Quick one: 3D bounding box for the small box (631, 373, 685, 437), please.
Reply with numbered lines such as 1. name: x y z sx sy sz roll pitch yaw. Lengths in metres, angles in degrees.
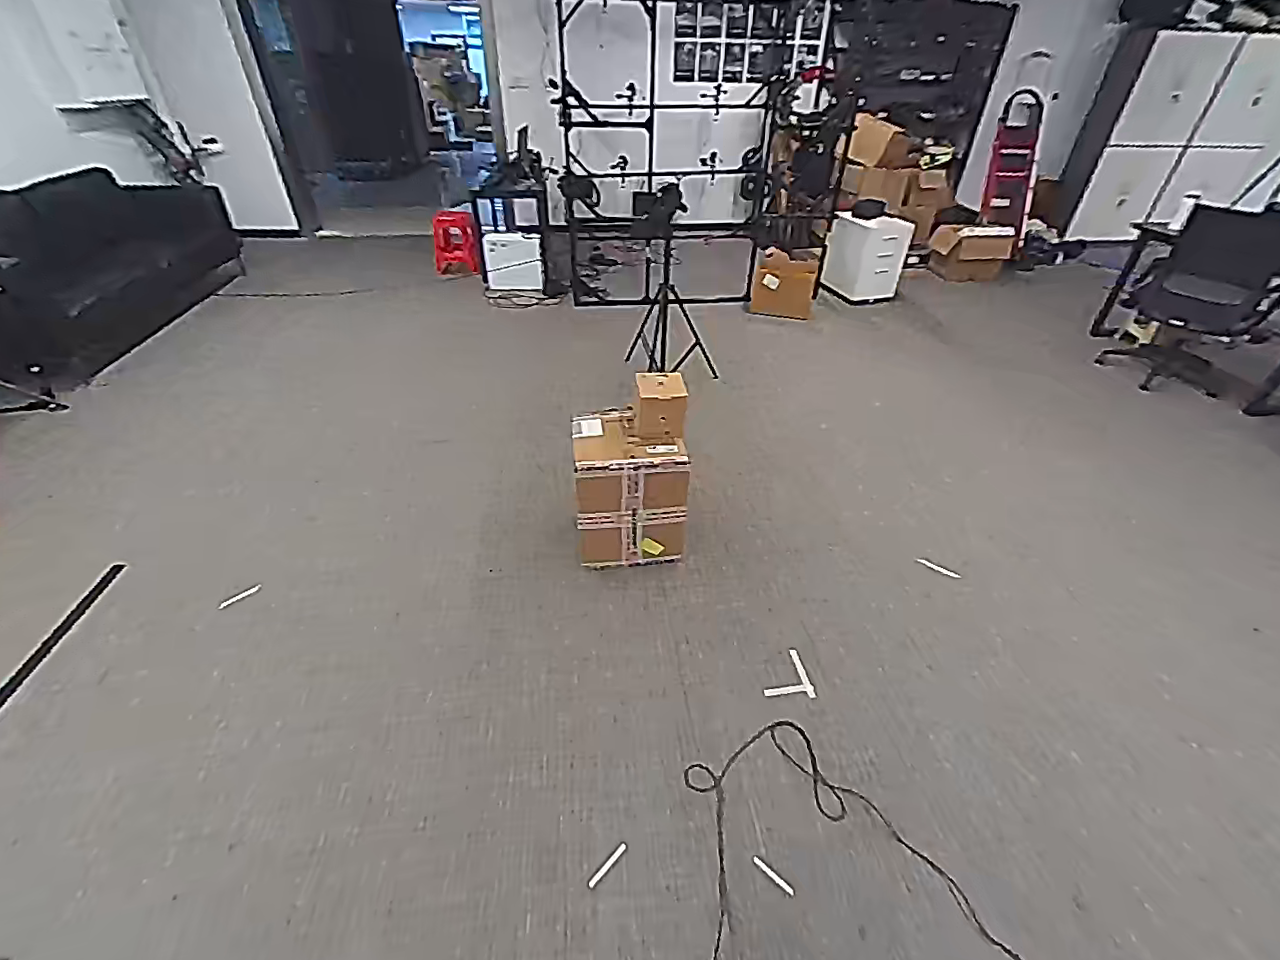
1. small box: 0.060 -0.266 1.934 0.168 0.176 0.179 -2 40 -8
